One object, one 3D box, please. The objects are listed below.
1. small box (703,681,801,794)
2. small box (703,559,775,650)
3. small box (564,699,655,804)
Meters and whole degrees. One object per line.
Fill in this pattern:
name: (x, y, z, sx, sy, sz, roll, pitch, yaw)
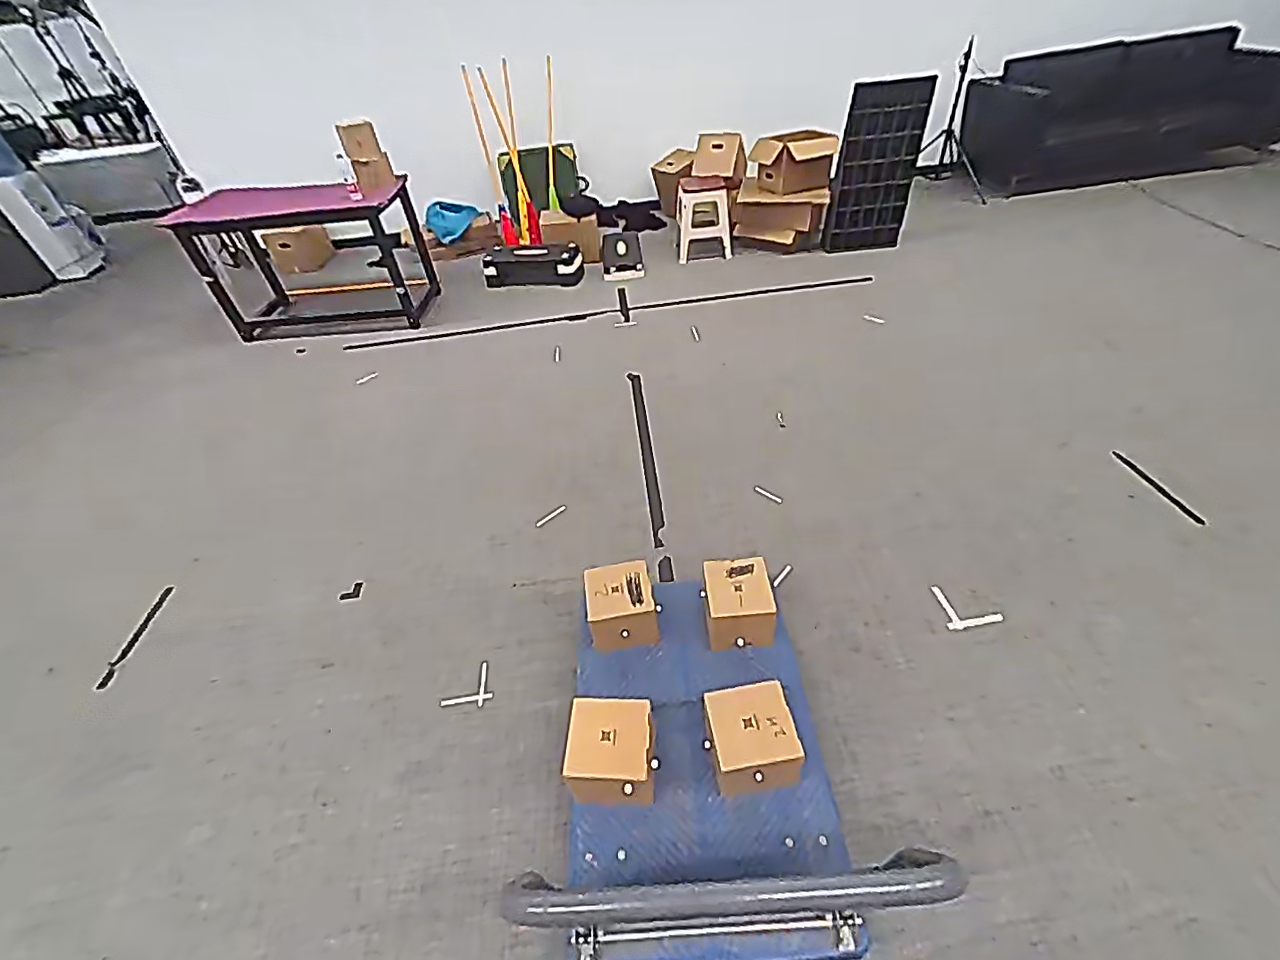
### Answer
small box: (0.244, 0.579, 1.208, 0.179, 0.176, 0.168, -9, 43, -2)
small box: (0.261, 0.337, 1.465, 0.168, 0.176, 0.179, -6, 44, 2)
small box: (-0.061, 0.611, 1.216, 0.179, 0.176, 0.168, -1, 43, 5)
